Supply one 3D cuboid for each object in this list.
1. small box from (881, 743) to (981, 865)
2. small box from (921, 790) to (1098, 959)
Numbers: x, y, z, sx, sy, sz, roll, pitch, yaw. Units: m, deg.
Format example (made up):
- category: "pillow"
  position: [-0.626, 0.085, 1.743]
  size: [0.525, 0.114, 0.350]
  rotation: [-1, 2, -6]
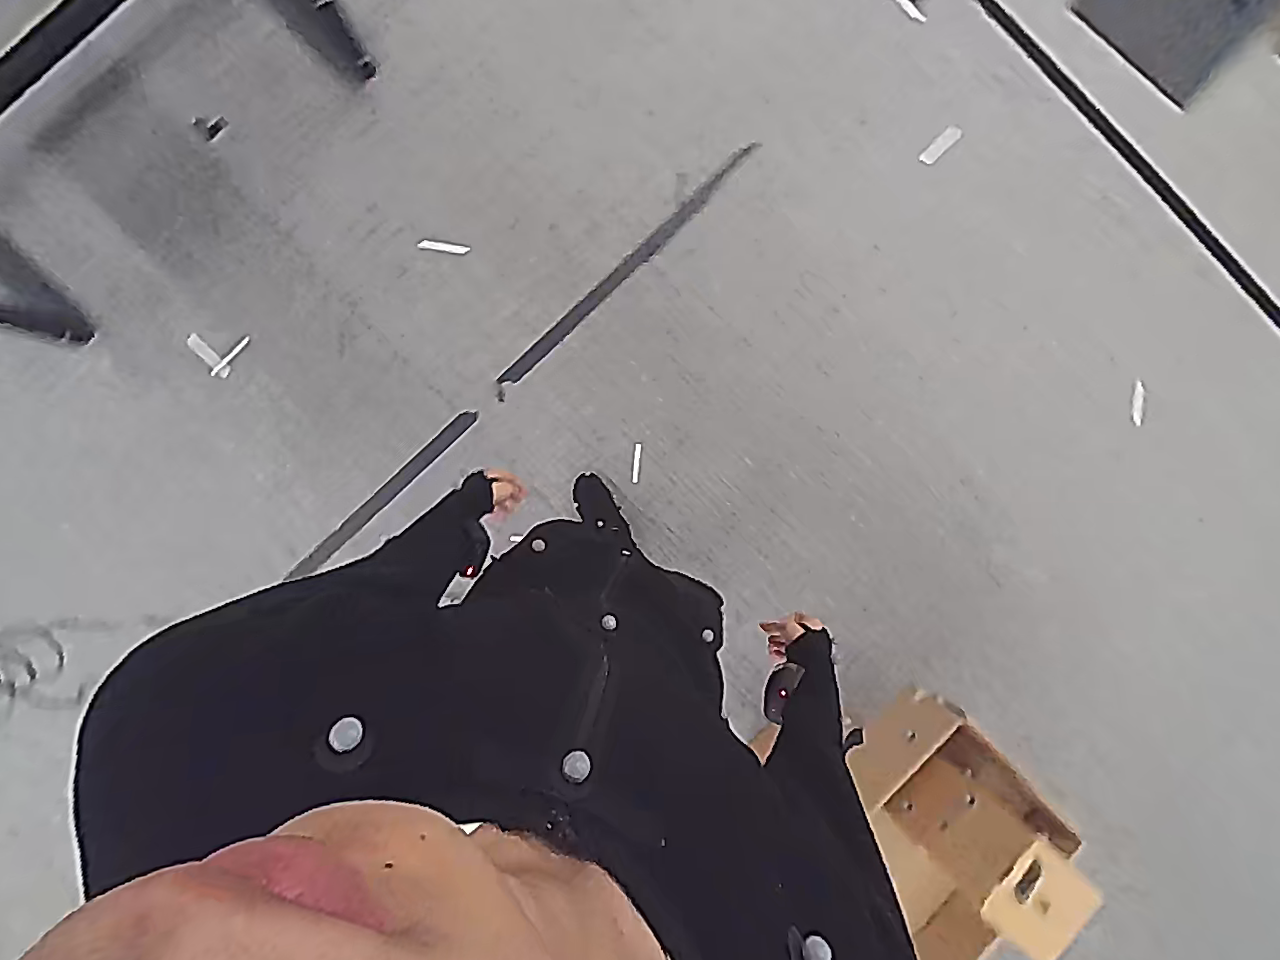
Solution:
- category: "small box"
  position: [0.658, 0.721, 1.174]
  size: [0.168, 0.176, 0.179]
  rotation: [41, 87, -3]
- category: "small box"
  position: [0.674, 0.724, 1.010]
  size: [0.179, 0.176, 0.168]
  rotation: [43, 88, -4]
